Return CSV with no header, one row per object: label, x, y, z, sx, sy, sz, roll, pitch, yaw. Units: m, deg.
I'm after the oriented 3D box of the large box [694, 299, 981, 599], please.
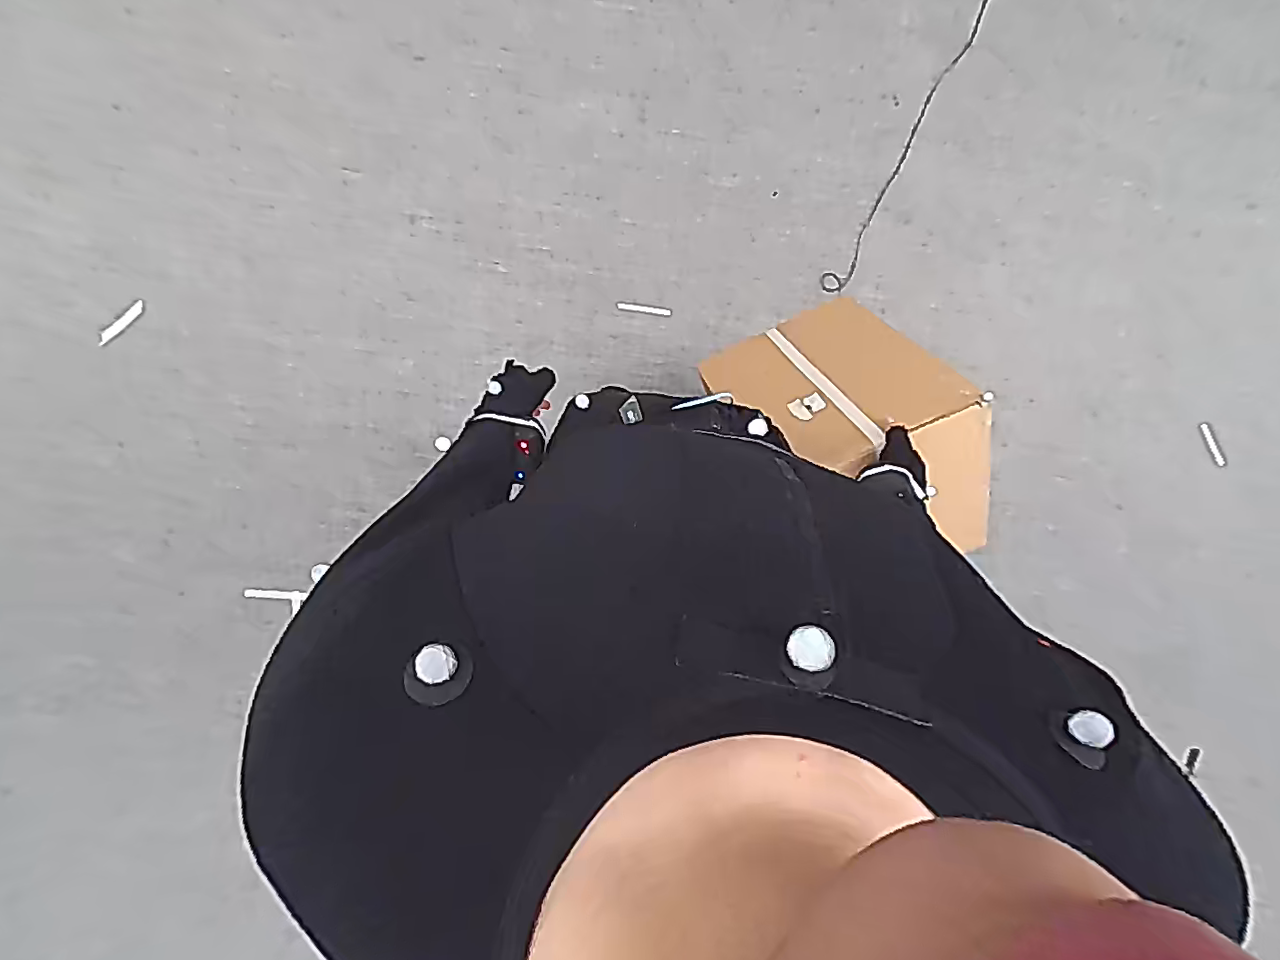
large box,0.337,-0.067,0.991,0.320,0.408,0.320,-25,130,5
